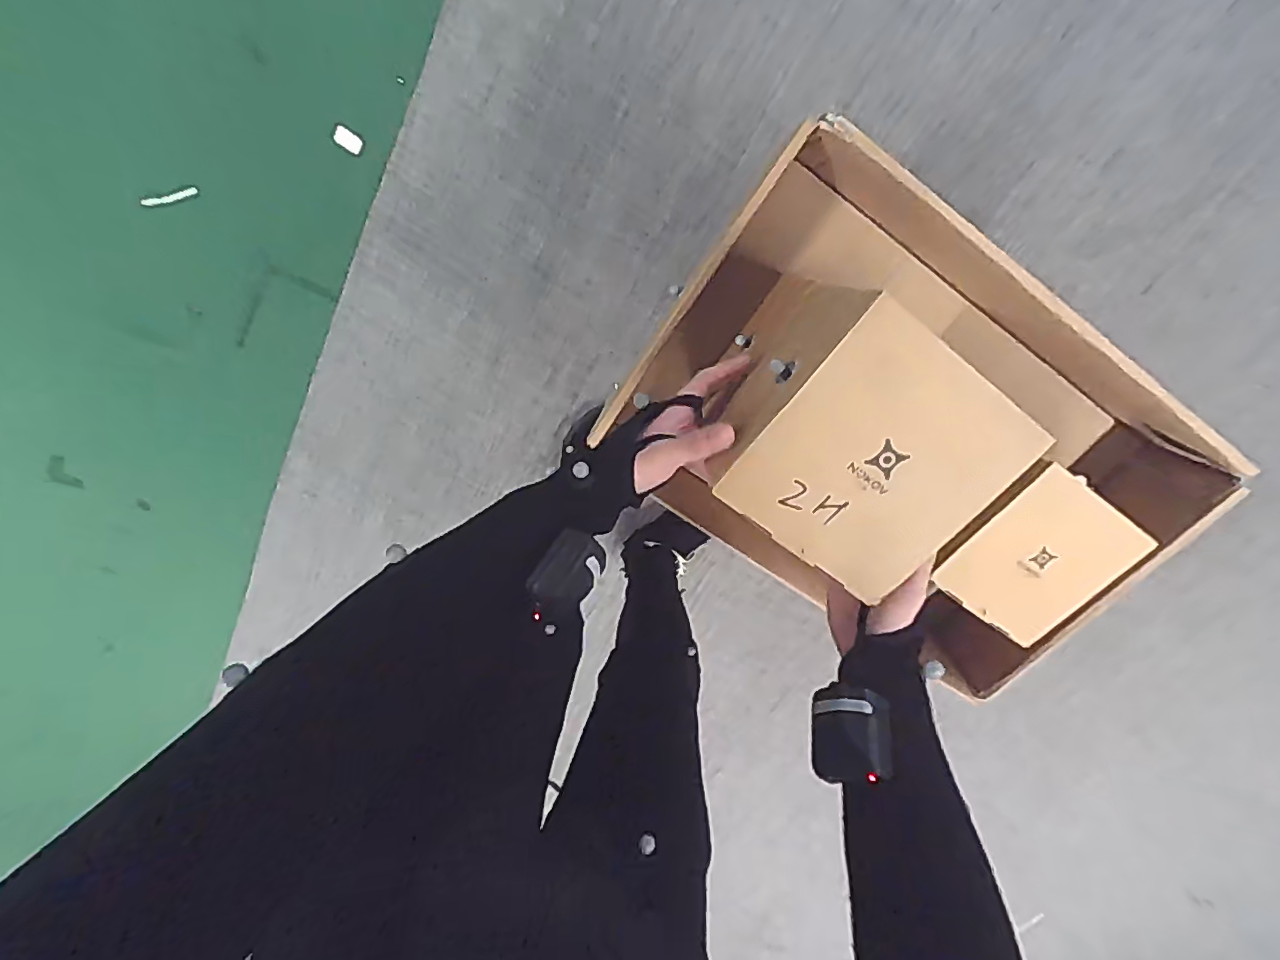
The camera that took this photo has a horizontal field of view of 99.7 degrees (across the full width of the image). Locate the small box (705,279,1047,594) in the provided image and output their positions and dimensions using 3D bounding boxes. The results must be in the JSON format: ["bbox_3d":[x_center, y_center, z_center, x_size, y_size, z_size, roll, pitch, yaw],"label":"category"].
[{"bbox_3d":[0.166,-0.049,0.452,0.168,0.176,0.179,35,111,-10],"label":"small box"}]
